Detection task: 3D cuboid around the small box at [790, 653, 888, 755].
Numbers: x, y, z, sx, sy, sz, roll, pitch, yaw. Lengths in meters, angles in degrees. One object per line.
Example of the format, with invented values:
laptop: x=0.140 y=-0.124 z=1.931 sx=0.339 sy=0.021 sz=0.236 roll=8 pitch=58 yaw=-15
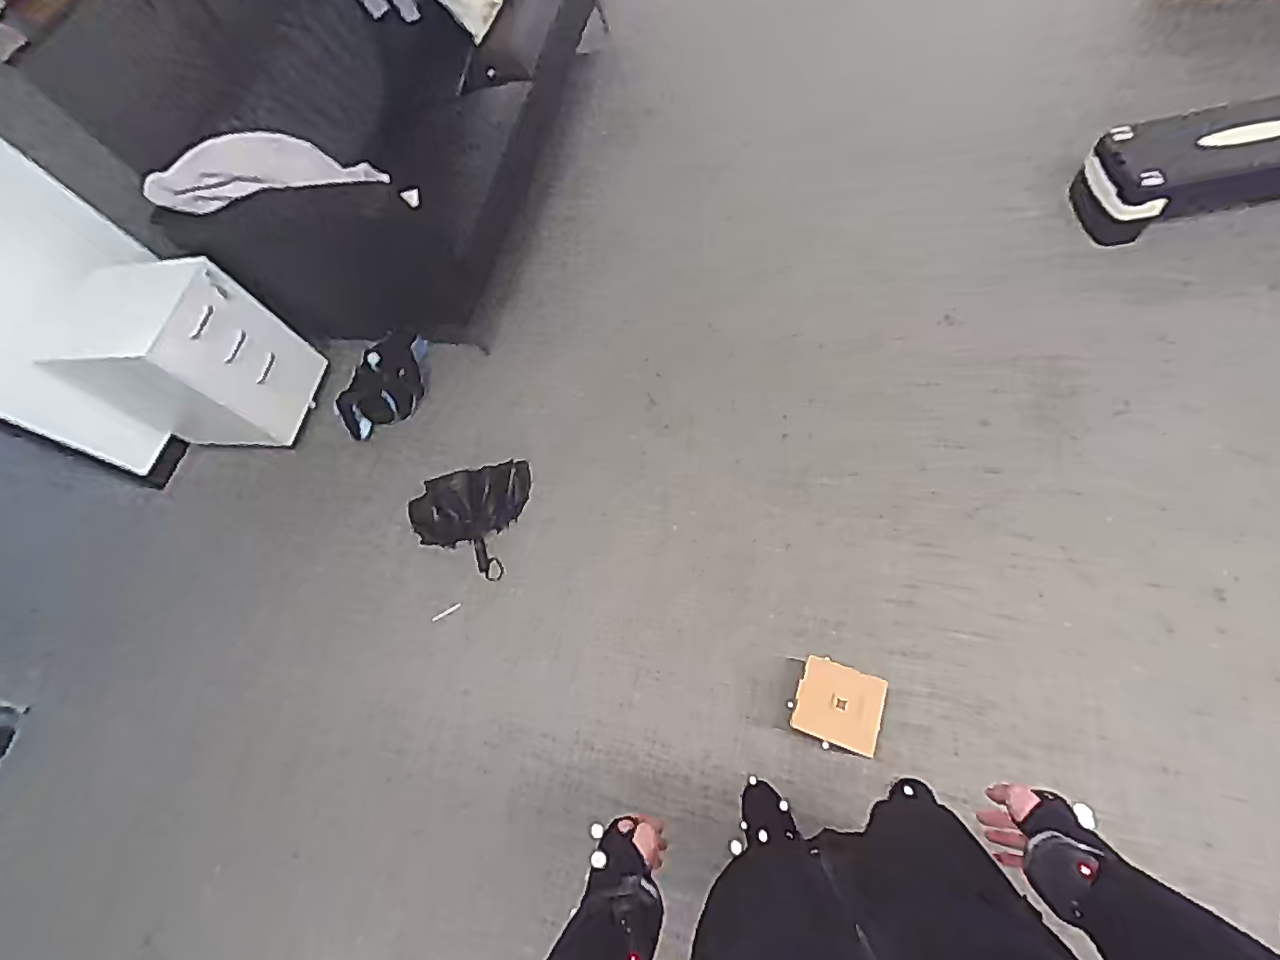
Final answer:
small box: x=0.456 y=0.520 z=1.258 sx=0.179 sy=0.176 sz=0.168 roll=15 pitch=71 yaw=20
